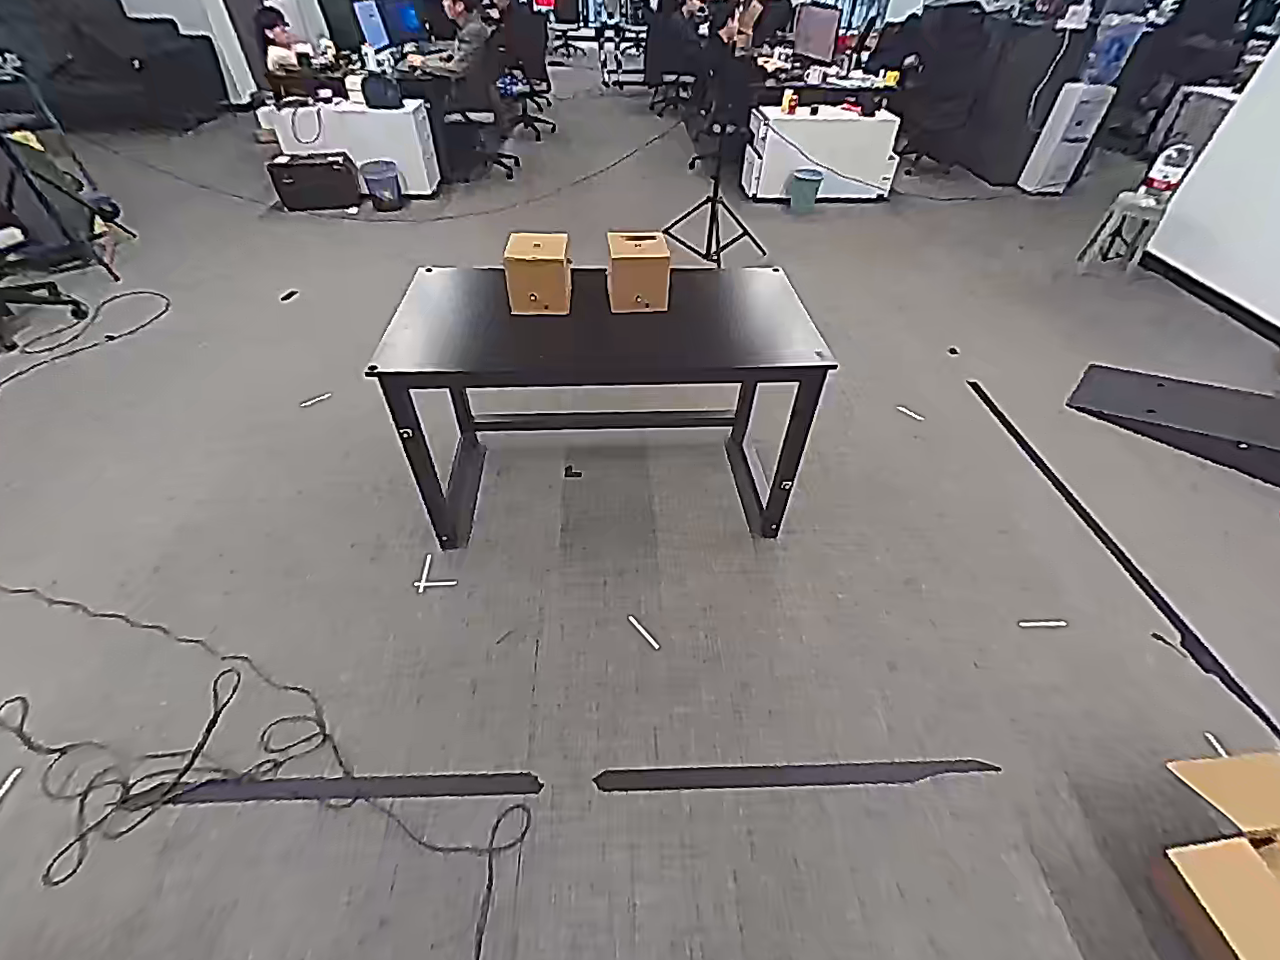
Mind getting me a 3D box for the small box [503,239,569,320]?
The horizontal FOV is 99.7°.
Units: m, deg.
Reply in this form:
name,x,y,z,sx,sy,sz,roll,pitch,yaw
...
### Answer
name,x,y,z,sx,sy,sz,roll,pitch,yaw
small box,-0.299,-0.588,1.586,0.168,0.176,0.179,-1,45,-3
